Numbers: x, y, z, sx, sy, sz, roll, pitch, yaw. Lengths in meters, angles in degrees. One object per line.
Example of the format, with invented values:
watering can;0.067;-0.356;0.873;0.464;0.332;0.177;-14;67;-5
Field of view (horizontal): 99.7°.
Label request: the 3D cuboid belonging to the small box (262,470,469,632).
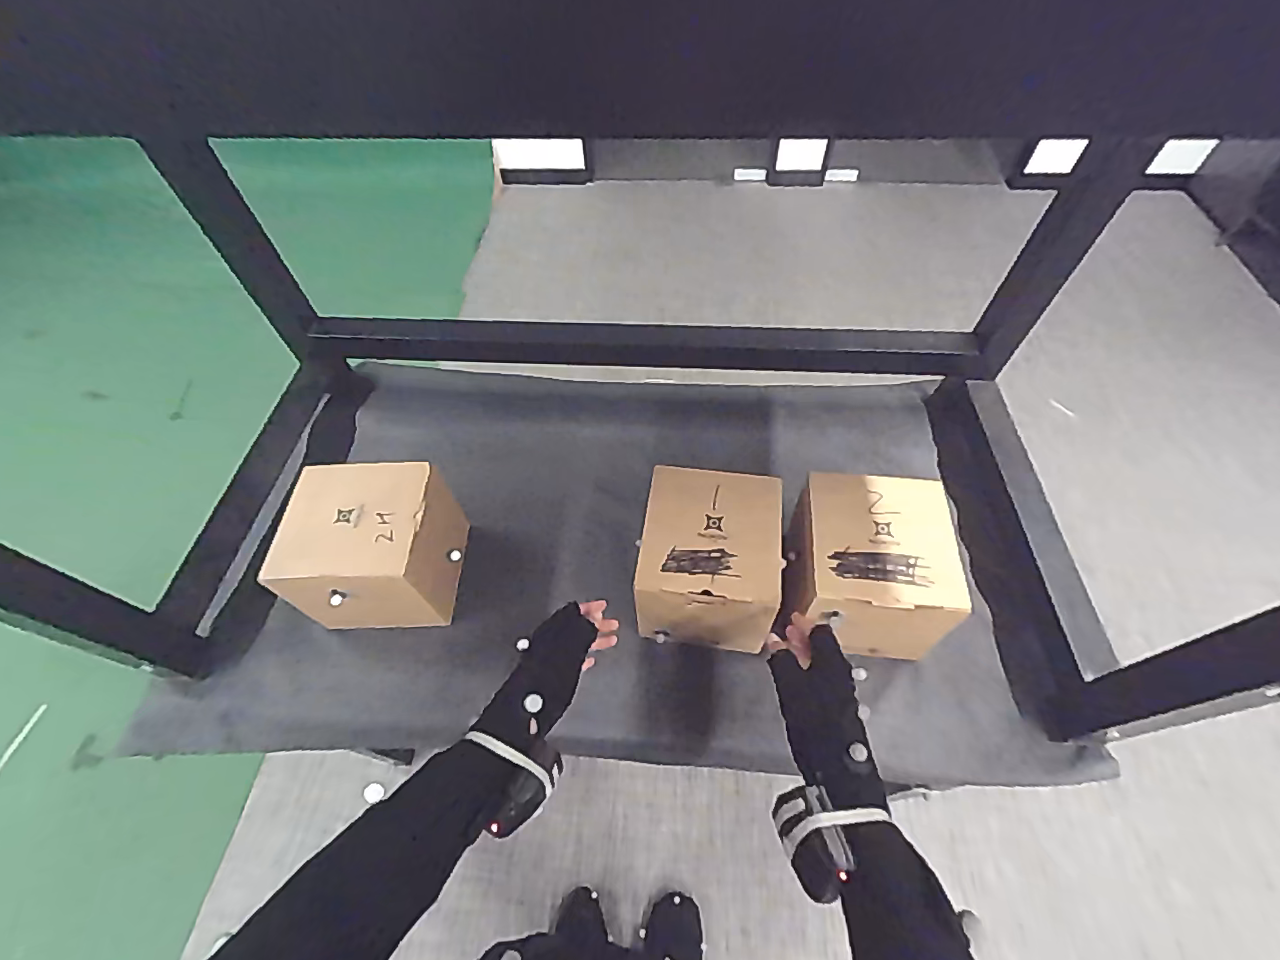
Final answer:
small box;-0.356;0.102;0.741;0.179;0.176;0.168;-1;55;1
